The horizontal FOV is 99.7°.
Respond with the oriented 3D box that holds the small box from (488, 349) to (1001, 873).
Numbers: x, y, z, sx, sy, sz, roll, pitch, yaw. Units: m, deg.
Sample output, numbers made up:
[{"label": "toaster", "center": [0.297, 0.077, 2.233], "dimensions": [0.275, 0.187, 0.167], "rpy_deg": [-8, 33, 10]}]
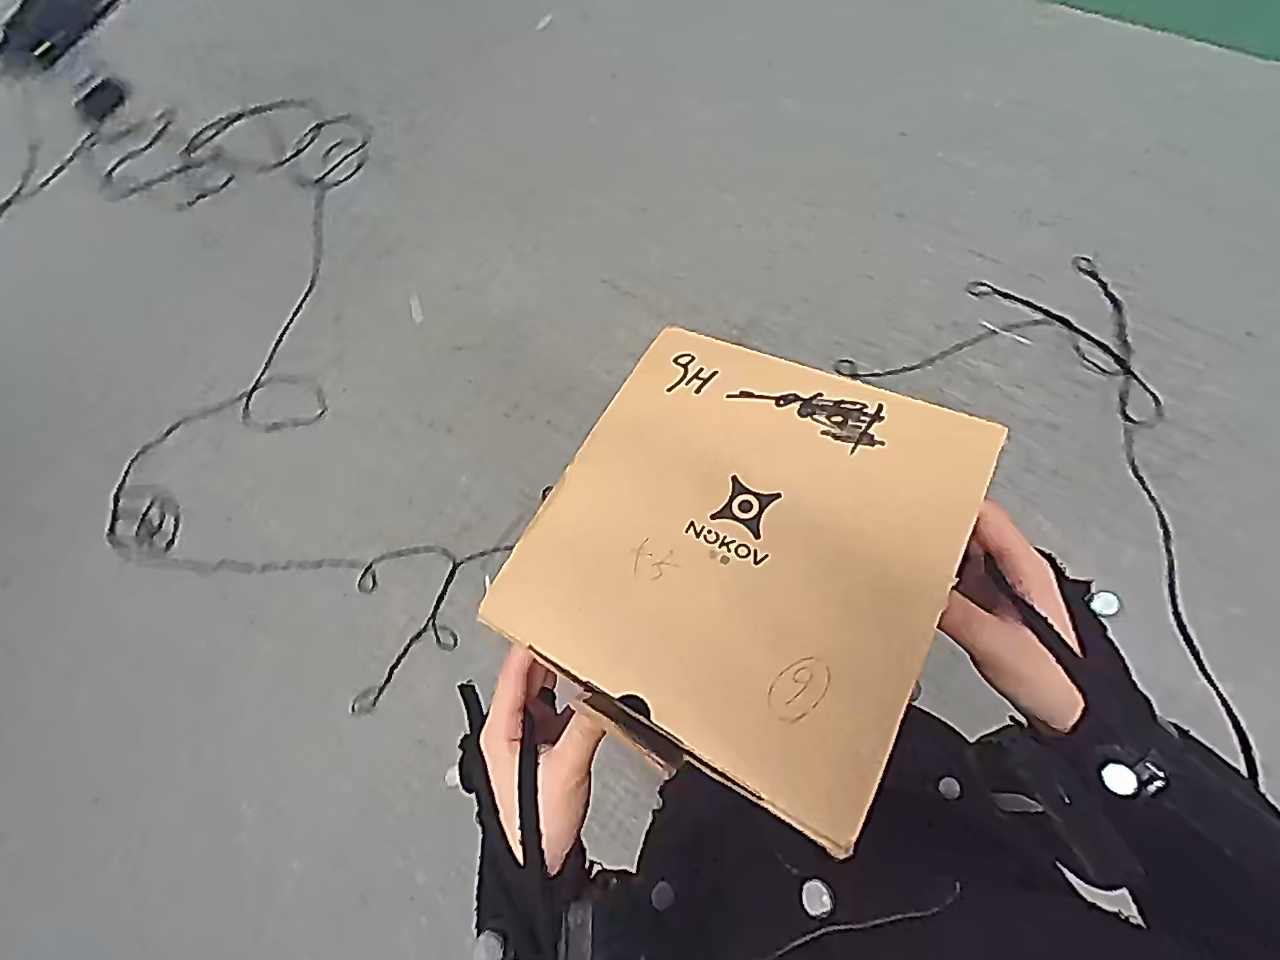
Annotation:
[{"label": "small box", "center": [0.058, 0.065, 0.303], "dimensions": [0.168, 0.176, 0.179], "rpy_deg": [25, 72, 23]}]
